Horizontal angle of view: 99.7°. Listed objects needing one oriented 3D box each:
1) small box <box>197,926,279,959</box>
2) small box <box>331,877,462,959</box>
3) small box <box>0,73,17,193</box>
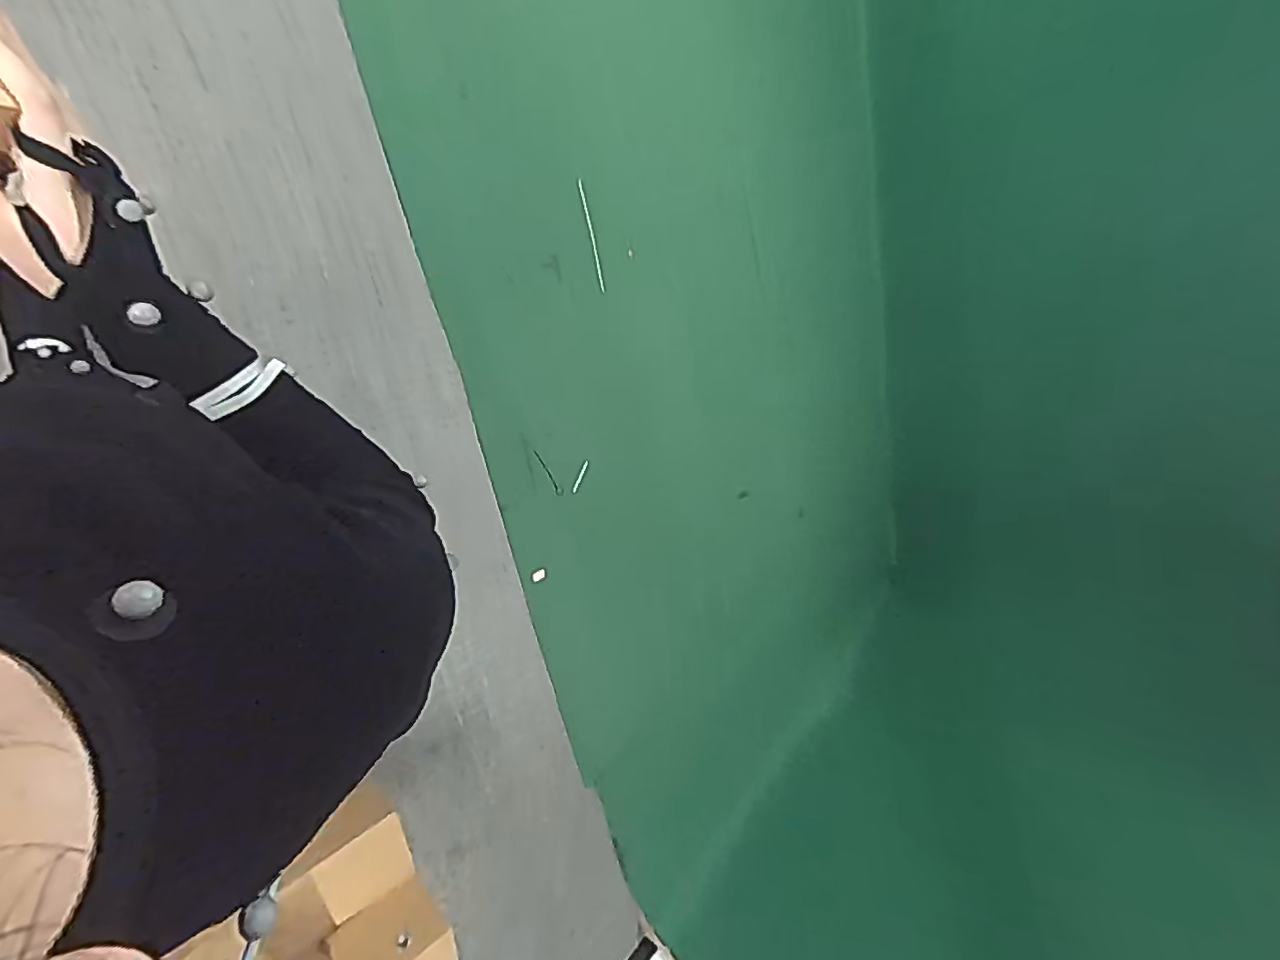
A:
[{"bbox_3d":[-0.645,0.851,0.835,0.168,0.176,0.179,-25,111,-40],"label":"small box"},{"bbox_3d":[-0.458,0.917,1.028,0.179,0.176,0.168,-15,105,-42],"label":"small box"},{"bbox_3d":[-0.458,-0.235,0.263,0.168,0.179,0.176,-18,86,-55],"label":"small box"}]
